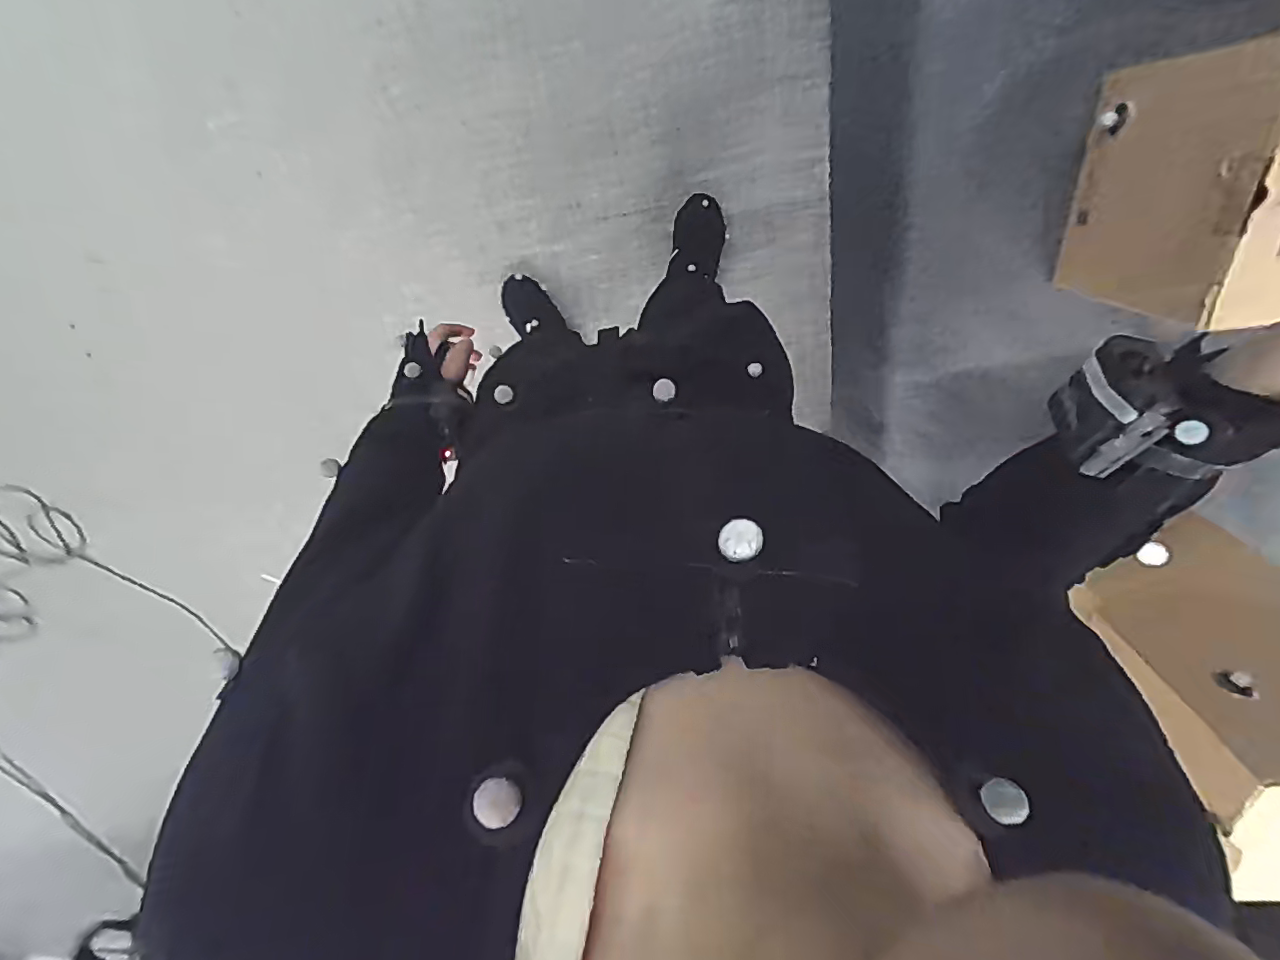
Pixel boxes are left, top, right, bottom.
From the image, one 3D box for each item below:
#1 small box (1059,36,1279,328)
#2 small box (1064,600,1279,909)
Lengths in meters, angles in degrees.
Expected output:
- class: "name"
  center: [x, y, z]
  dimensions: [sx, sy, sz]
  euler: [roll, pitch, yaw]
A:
- class: "small box"
  center: [0.461, -0.218, 0.395]
  dimensions: [0.179, 0.176, 0.168]
  euler: [-5, 119, 4]
- class: "small box"
  center: [0.507, 0.219, 0.452]
  dimensions: [0.179, 0.176, 0.168]
  euler: [-7, 119, 6]
